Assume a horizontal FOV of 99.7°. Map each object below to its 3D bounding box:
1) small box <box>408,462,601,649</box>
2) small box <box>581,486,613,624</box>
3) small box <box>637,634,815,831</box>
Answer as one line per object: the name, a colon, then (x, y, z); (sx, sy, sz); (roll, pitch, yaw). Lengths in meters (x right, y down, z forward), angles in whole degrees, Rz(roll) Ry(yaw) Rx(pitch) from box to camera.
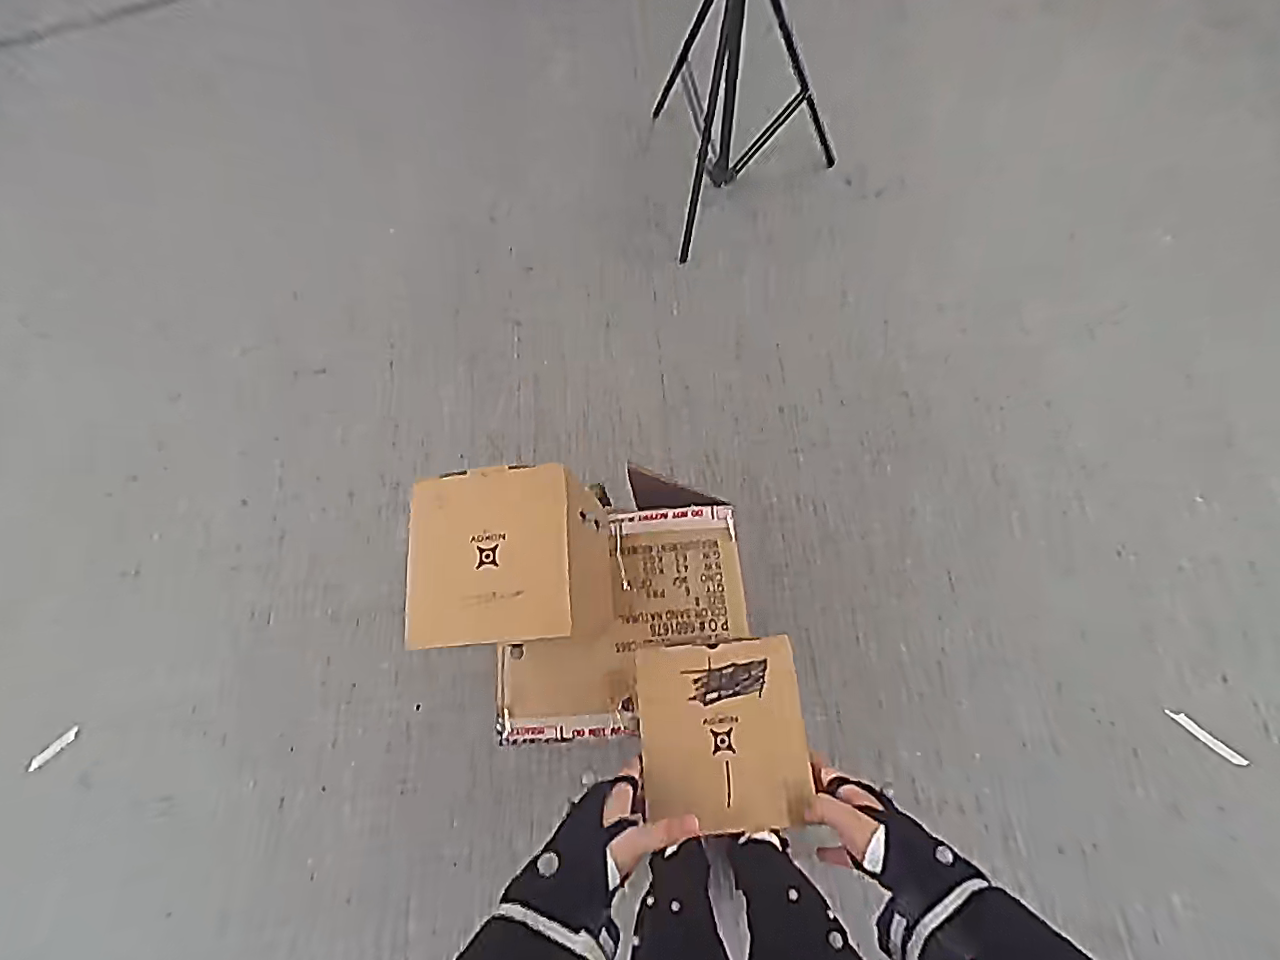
small box: (-0.140, 0.093, 0.613); (0.168, 0.176, 0.179); (-6, 74, 4)
small box: (-0.134, 0.119, 0.774); (0.168, 0.176, 0.179); (-6, 74, 4)
small box: (0.082, 0.276, 0.617); (0.168, 0.176, 0.179); (-3, 70, -1)
